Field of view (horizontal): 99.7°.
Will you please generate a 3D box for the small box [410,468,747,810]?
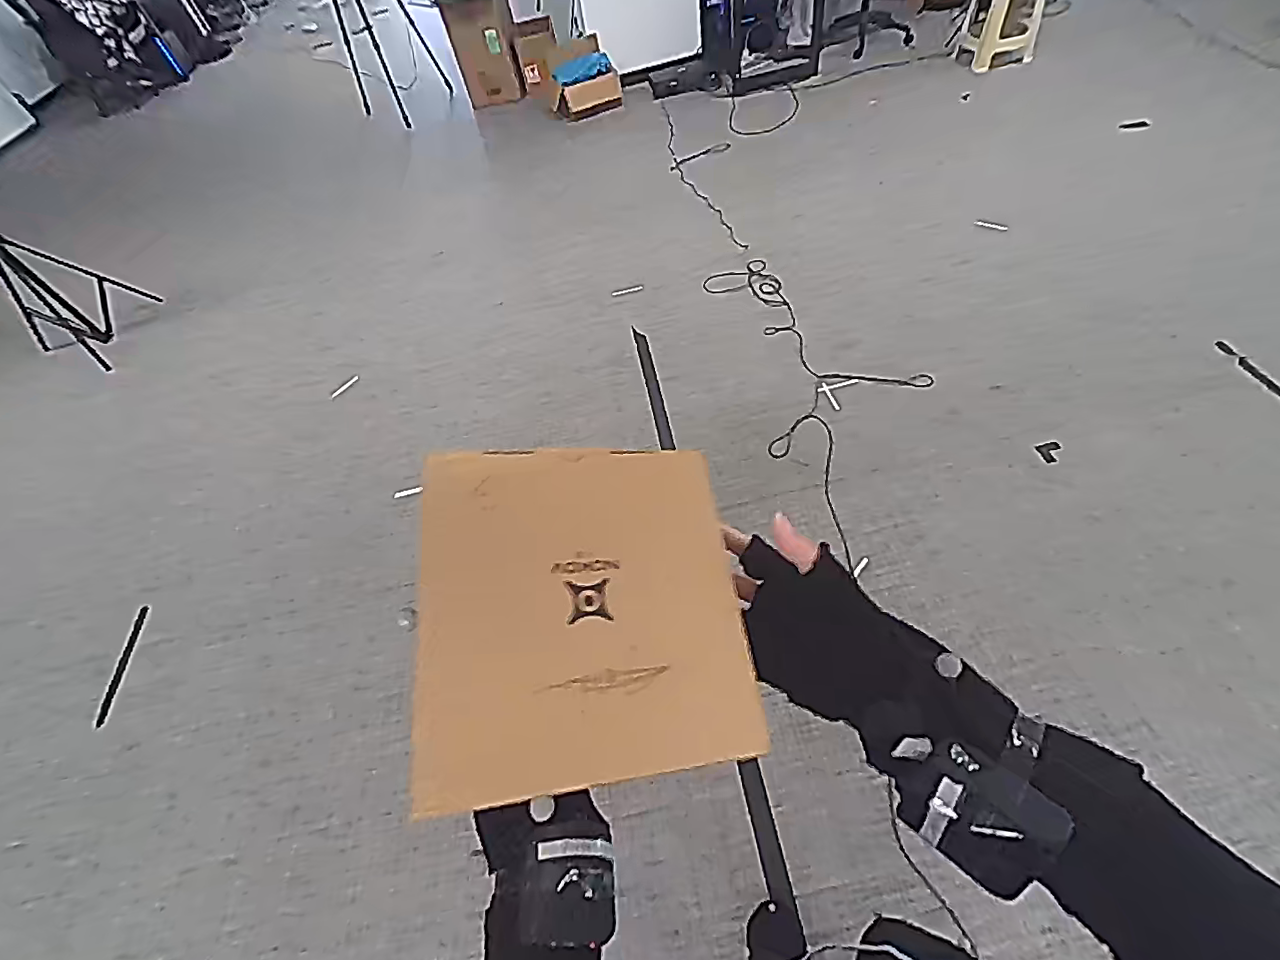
[{"bbox_3d":[-0.053,0.109,0.364,0.168,0.176,0.179,-2,61,-15],"label":"small box"}]
